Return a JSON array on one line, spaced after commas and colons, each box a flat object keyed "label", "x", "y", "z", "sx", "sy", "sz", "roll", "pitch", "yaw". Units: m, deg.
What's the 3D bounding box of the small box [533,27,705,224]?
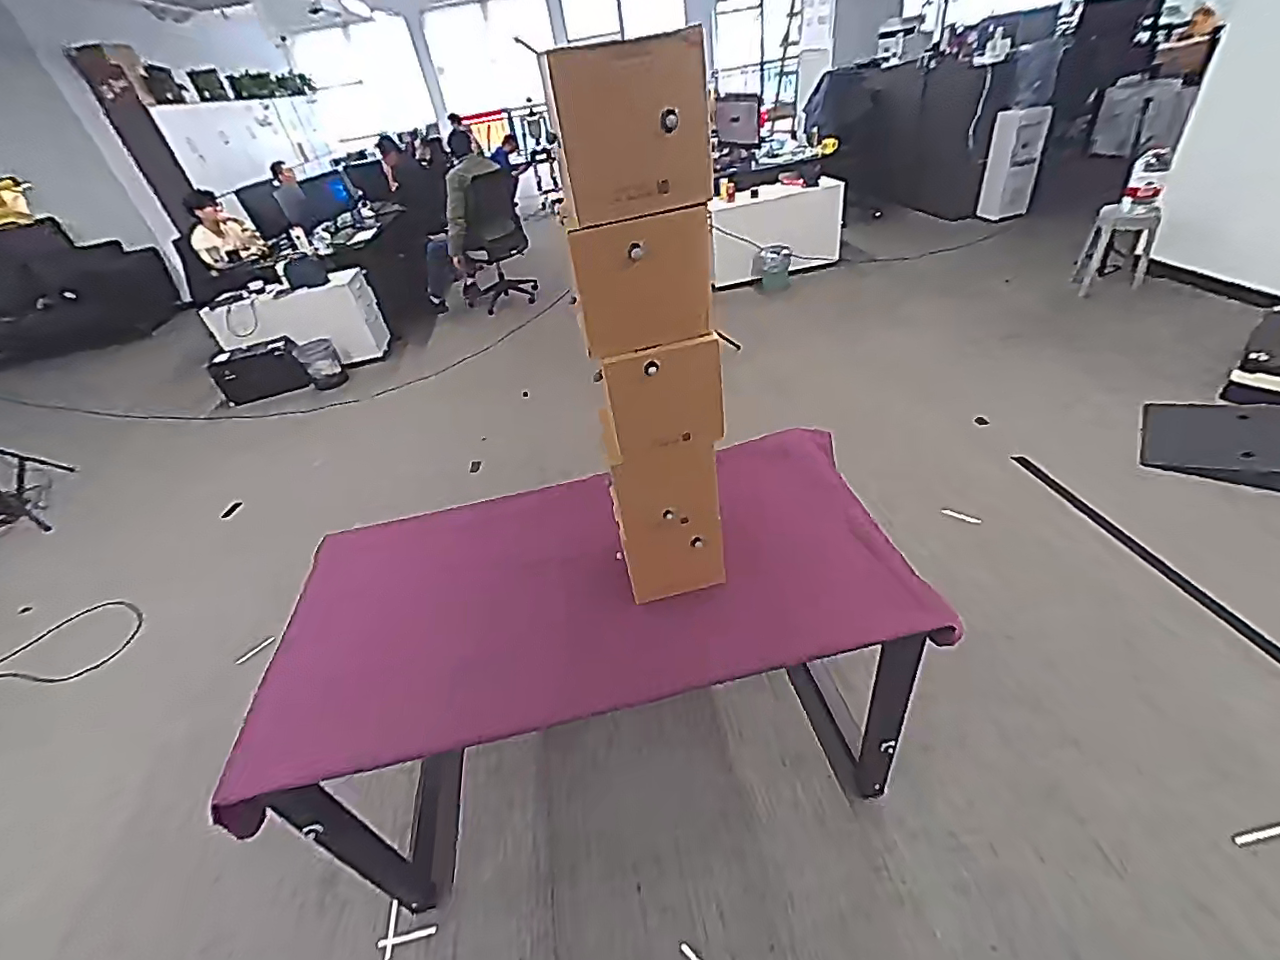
[{"label": "small box", "x": -0.025, "y": -0.421, "z": 0.655, "sx": 0.168, "sy": 0.176, "sz": 0.179, "roll": -14, "pitch": 37, "yaw": -6}]

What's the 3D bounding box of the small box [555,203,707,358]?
[{"label": "small box", "x": -0.010, "y": -0.290, "z": 0.750, "sx": 0.179, "sy": 0.176, "sz": 0.168, "roll": -14, "pitch": 38, "yaw": -4}]

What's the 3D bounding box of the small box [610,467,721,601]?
[{"label": "small box", "x": 0.051, "y": 0.103, "z": 1.036, "sx": 0.179, "sy": 0.176, "sz": 0.168, "roll": -14, "pitch": 37, "yaw": -3}]

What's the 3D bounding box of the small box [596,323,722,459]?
[{"label": "small box", "x": 0.022, "y": -0.157, "z": 0.840, "sx": 0.168, "sy": 0.176, "sz": 0.179, "roll": -14, "pitch": 37, "yaw": -4}]
